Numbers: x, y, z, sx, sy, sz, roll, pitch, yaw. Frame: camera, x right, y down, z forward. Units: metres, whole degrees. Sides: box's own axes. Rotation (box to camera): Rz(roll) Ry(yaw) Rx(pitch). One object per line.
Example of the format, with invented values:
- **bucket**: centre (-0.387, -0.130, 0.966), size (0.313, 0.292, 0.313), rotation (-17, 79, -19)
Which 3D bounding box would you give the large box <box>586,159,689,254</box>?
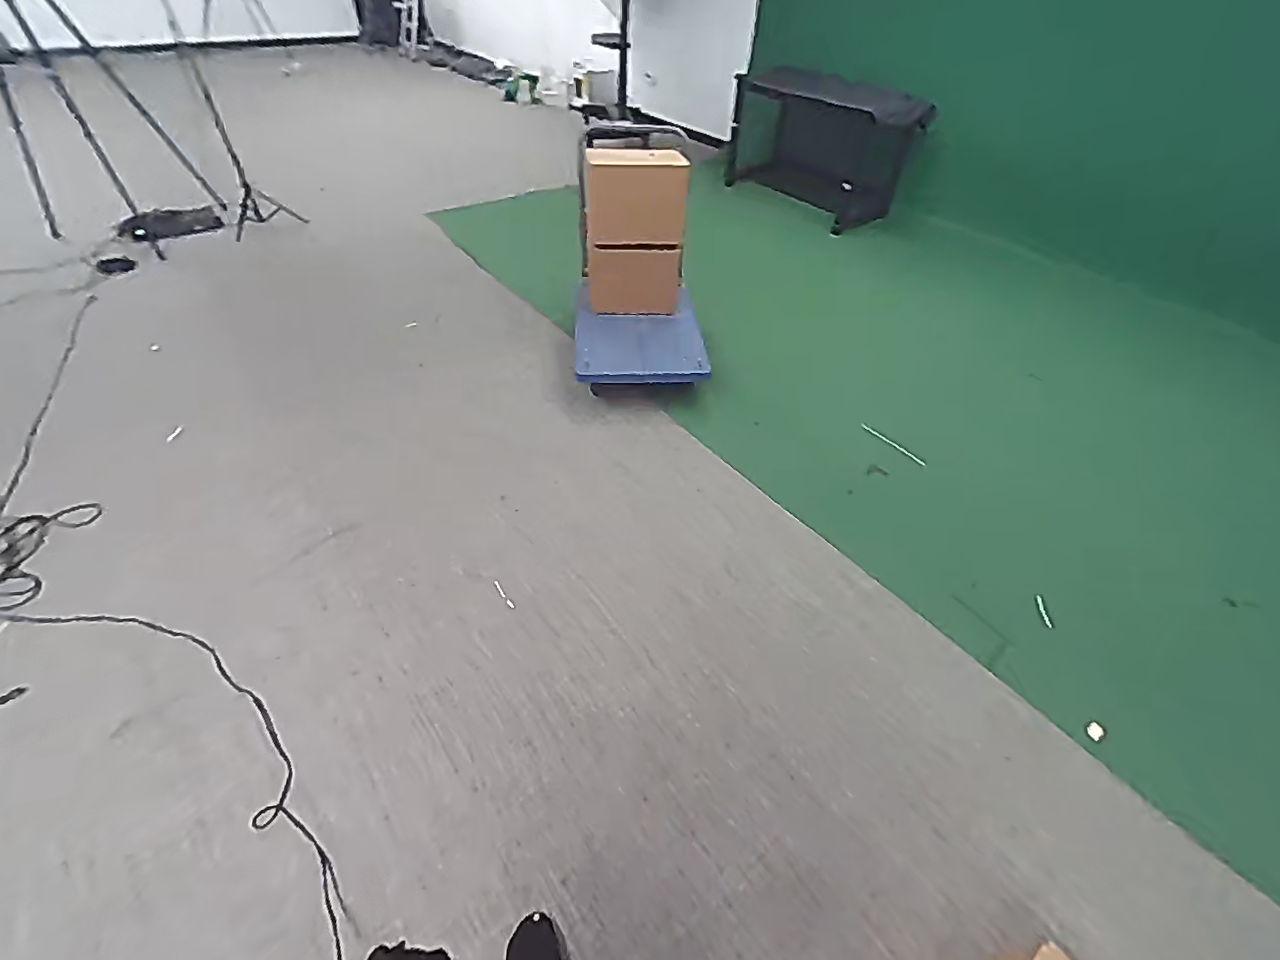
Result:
- **large box**: centre (-0.024, -1.195, 2.363), size (0.408, 0.320, 0.320), rotation (-2, 41, -7)
